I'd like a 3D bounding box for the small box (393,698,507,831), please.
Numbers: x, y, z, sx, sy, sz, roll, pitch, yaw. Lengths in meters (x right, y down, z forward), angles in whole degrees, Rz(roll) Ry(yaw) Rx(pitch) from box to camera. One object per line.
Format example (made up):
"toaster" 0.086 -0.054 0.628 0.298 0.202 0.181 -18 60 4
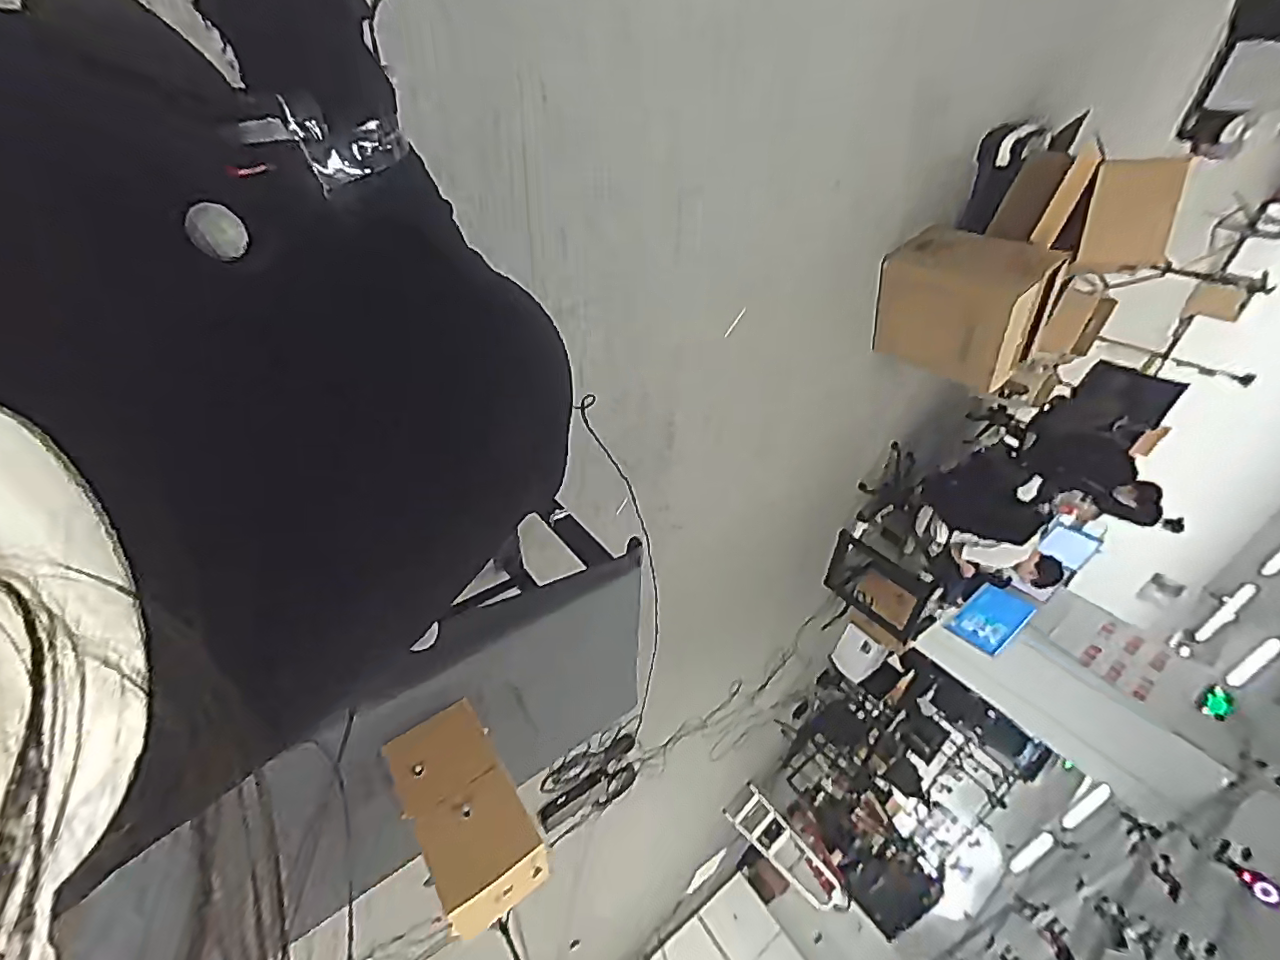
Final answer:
"small box" -0.374 0.581 1.082 0.179 0.176 0.168 -26 136 -30

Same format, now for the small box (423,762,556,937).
"small box" -0.276 0.662 0.983 0.179 0.176 0.168 -26 135 -28
